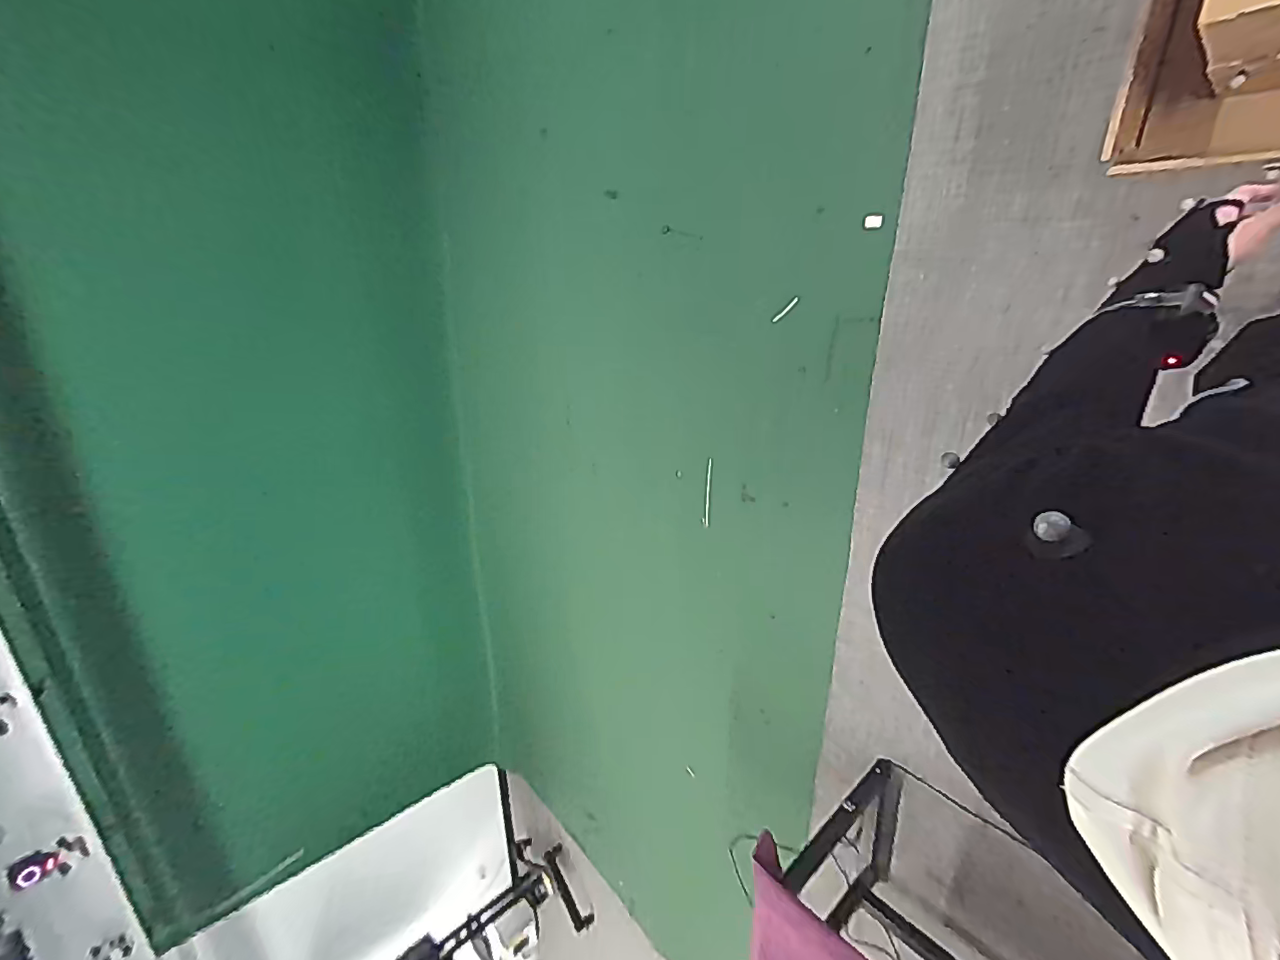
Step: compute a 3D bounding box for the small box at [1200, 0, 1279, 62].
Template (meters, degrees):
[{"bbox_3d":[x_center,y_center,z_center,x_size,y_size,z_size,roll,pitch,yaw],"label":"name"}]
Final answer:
[{"bbox_3d":[0.707,-0.563,0.541,0.168,0.176,0.179,22,118,44],"label":"small box"}]
